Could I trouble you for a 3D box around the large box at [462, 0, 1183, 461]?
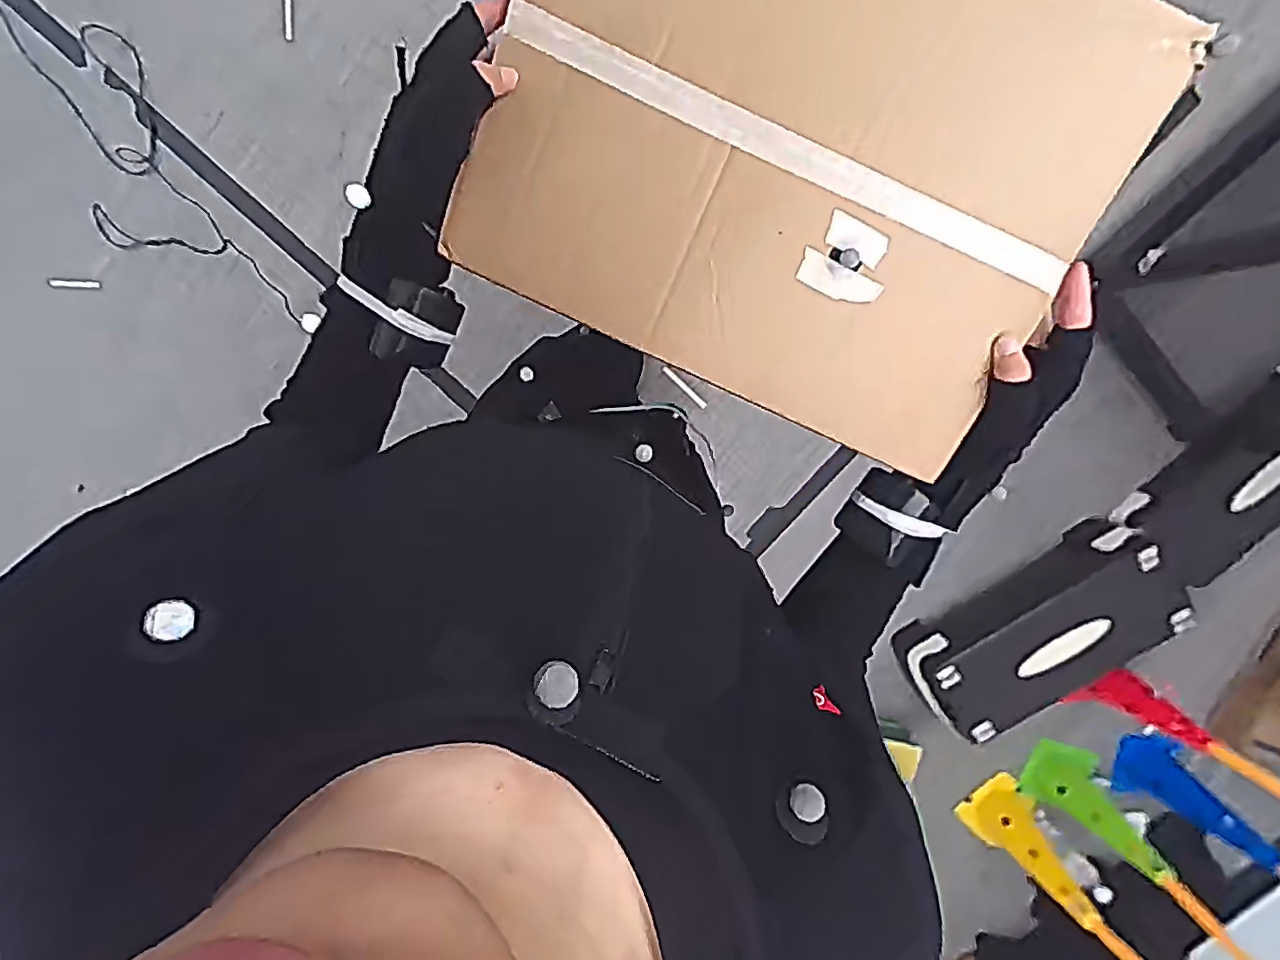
[{"bbox_3d":[0.113,-0.262,0.516,0.408,0.320,0.320,25,106,-3],"label":"large box"}]
